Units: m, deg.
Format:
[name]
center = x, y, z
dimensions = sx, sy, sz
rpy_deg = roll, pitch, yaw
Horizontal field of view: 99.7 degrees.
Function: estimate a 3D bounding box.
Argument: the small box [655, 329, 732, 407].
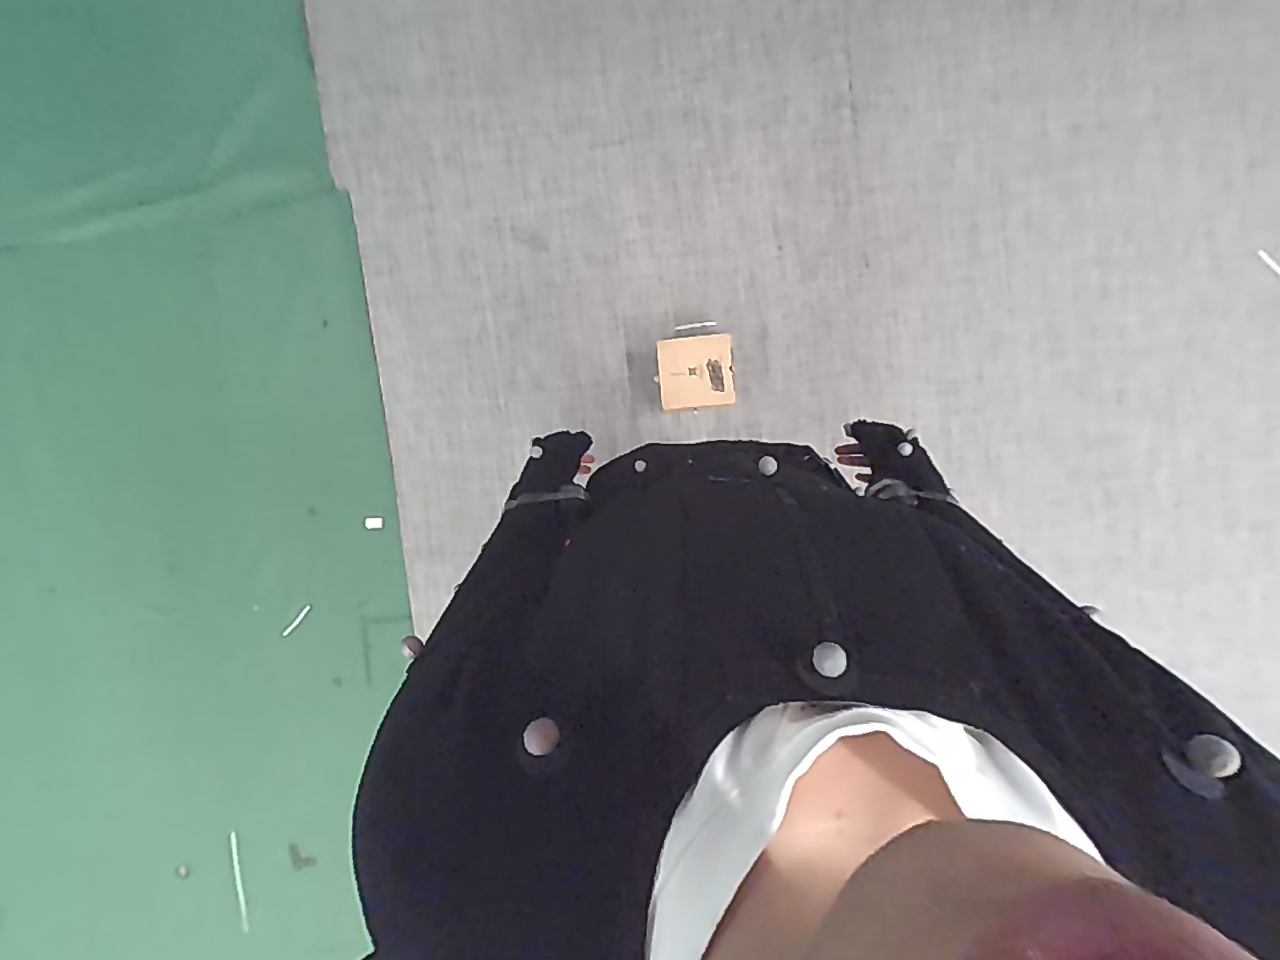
[small box]
center = 0.132, -0.275, 1.361
dimensions = 0.179, 0.176, 0.168
rpy_deg = -5, 94, 5
